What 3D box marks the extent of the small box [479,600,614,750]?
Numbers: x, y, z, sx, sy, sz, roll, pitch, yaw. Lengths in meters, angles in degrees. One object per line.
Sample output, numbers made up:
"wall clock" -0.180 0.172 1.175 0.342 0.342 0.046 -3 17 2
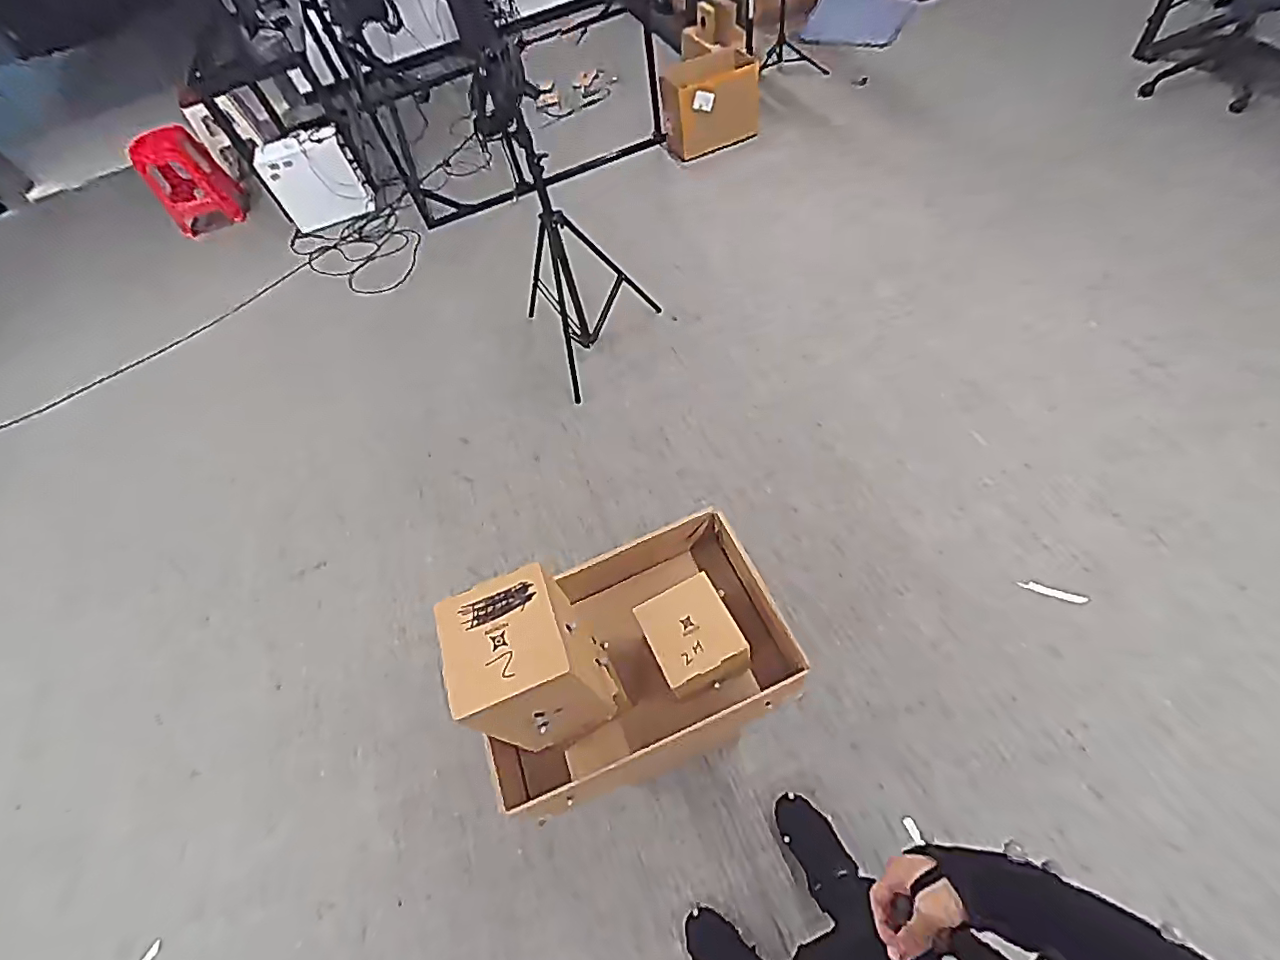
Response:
"small box" -0.161 0.346 0.950 0.168 0.176 0.179 -23 55 -4
